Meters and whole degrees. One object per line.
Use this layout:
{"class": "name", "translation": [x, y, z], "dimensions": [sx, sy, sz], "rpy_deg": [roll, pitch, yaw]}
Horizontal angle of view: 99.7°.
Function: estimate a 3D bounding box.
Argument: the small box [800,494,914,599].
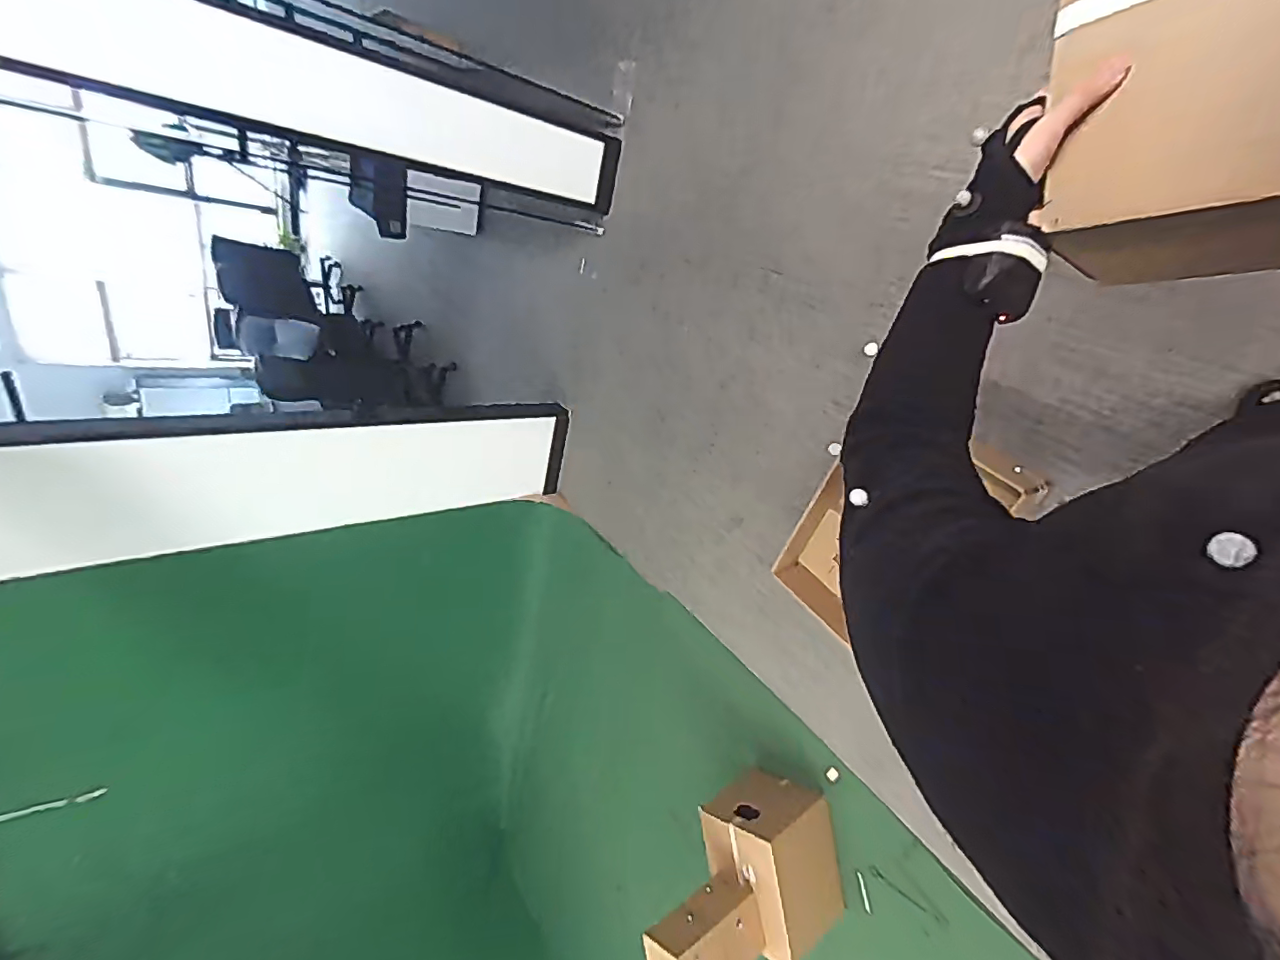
{"class": "small box", "translation": [0.534, 0.153, 1.318], "dimensions": [0.168, 0.176, 0.179], "rpy_deg": [46, 131, 35]}
